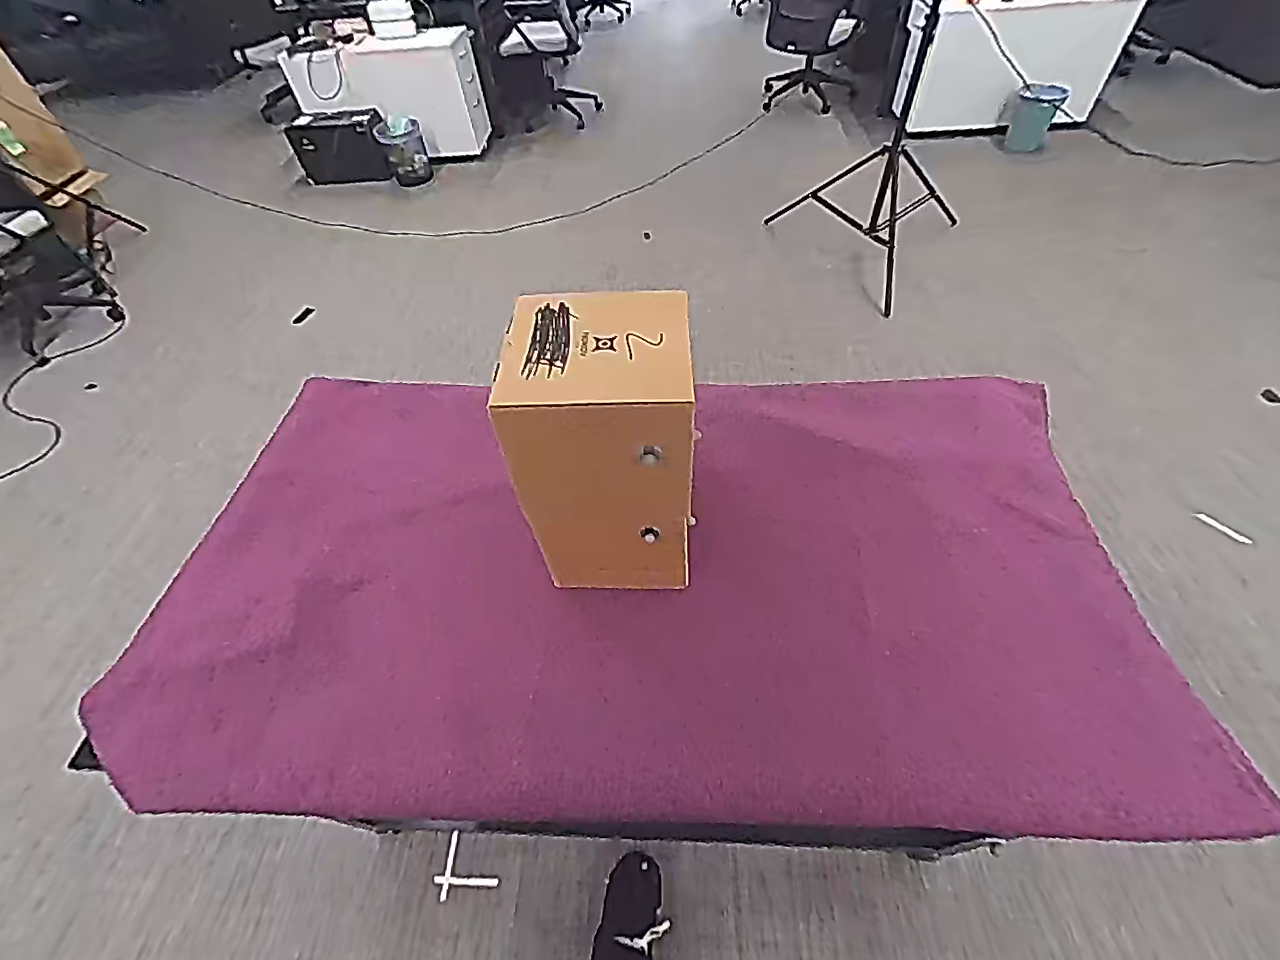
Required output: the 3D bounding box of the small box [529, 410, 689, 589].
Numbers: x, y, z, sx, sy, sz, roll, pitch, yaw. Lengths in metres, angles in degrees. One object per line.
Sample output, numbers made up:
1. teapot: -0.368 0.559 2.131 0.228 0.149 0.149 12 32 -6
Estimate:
1. small box: -0.026 0.028 0.690 0.179 0.176 0.168 0 51 4
